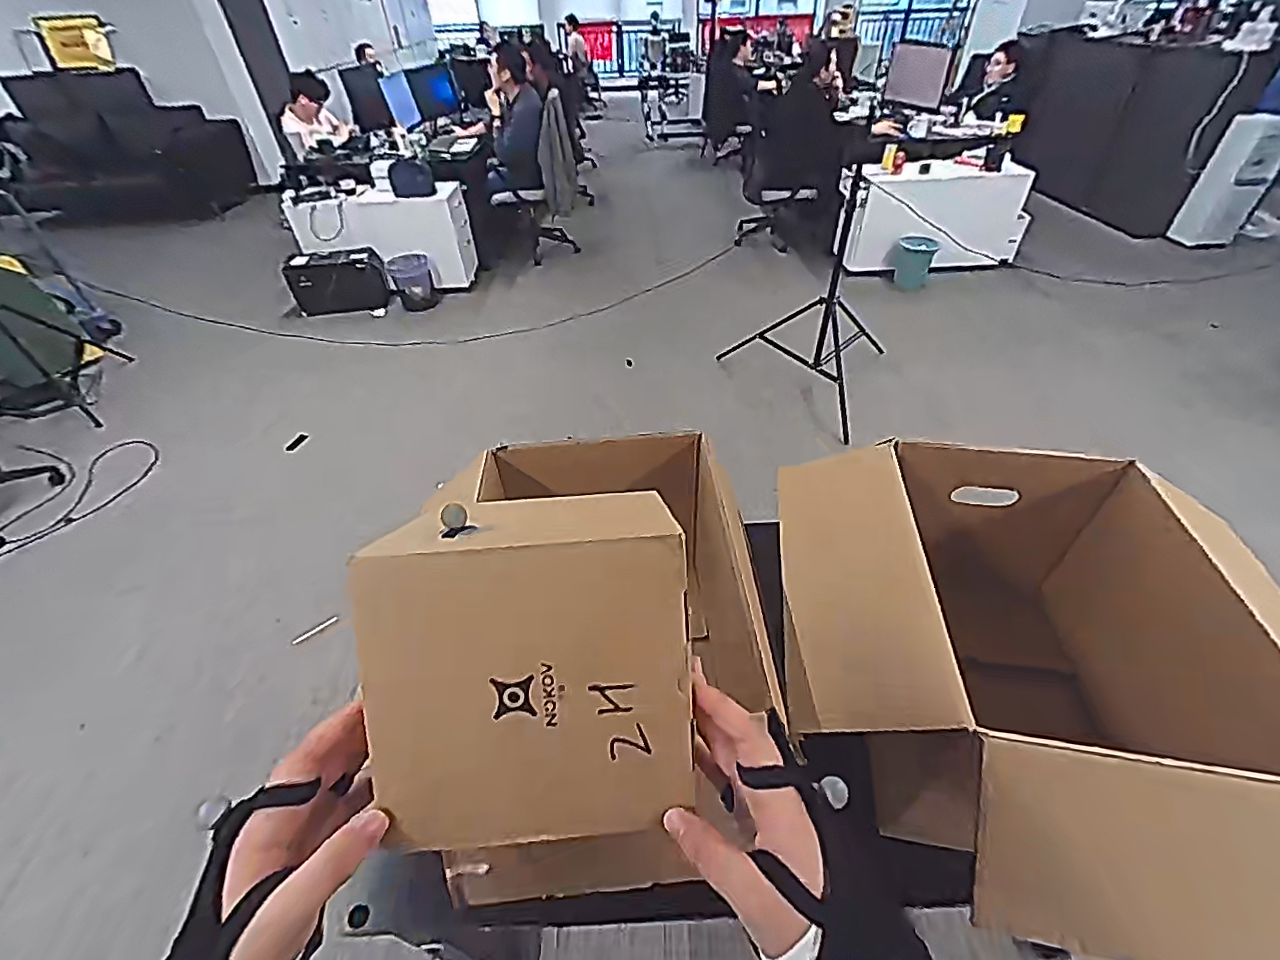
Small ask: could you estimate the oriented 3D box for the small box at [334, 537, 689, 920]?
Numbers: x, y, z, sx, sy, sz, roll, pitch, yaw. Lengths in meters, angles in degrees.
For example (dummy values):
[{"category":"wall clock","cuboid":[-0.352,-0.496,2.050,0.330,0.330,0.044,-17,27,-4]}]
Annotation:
[{"category":"small box","cuboid":[-0.066,0.136,0.357,0.179,0.168,0.176,-3,7,-3]}]
